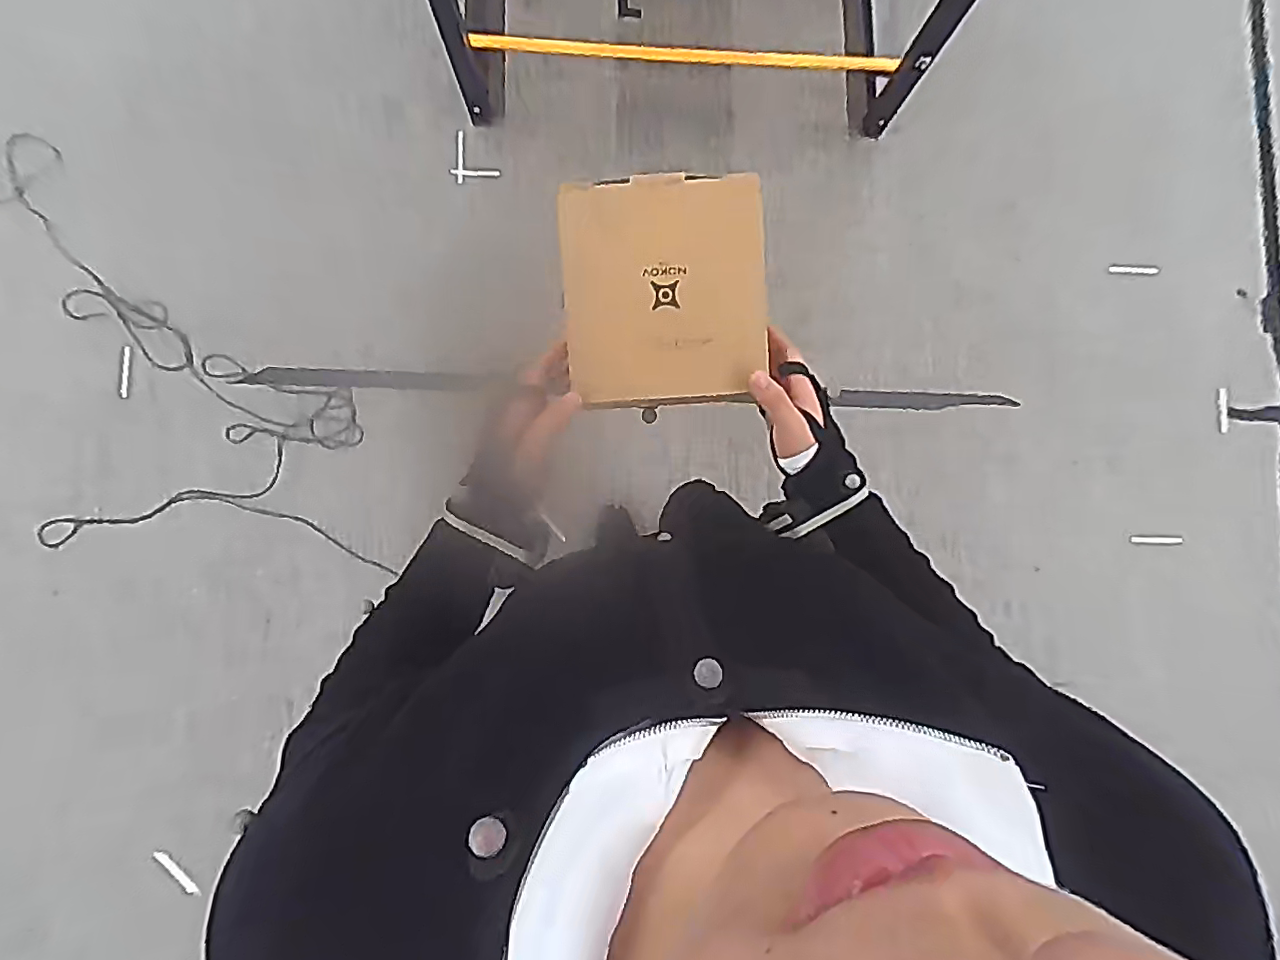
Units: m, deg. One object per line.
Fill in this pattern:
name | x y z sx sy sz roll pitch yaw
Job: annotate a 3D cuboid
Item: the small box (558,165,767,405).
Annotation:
small box | 0.015 -0.169 0.519 0.168 0.176 0.179 -4 95 -2
